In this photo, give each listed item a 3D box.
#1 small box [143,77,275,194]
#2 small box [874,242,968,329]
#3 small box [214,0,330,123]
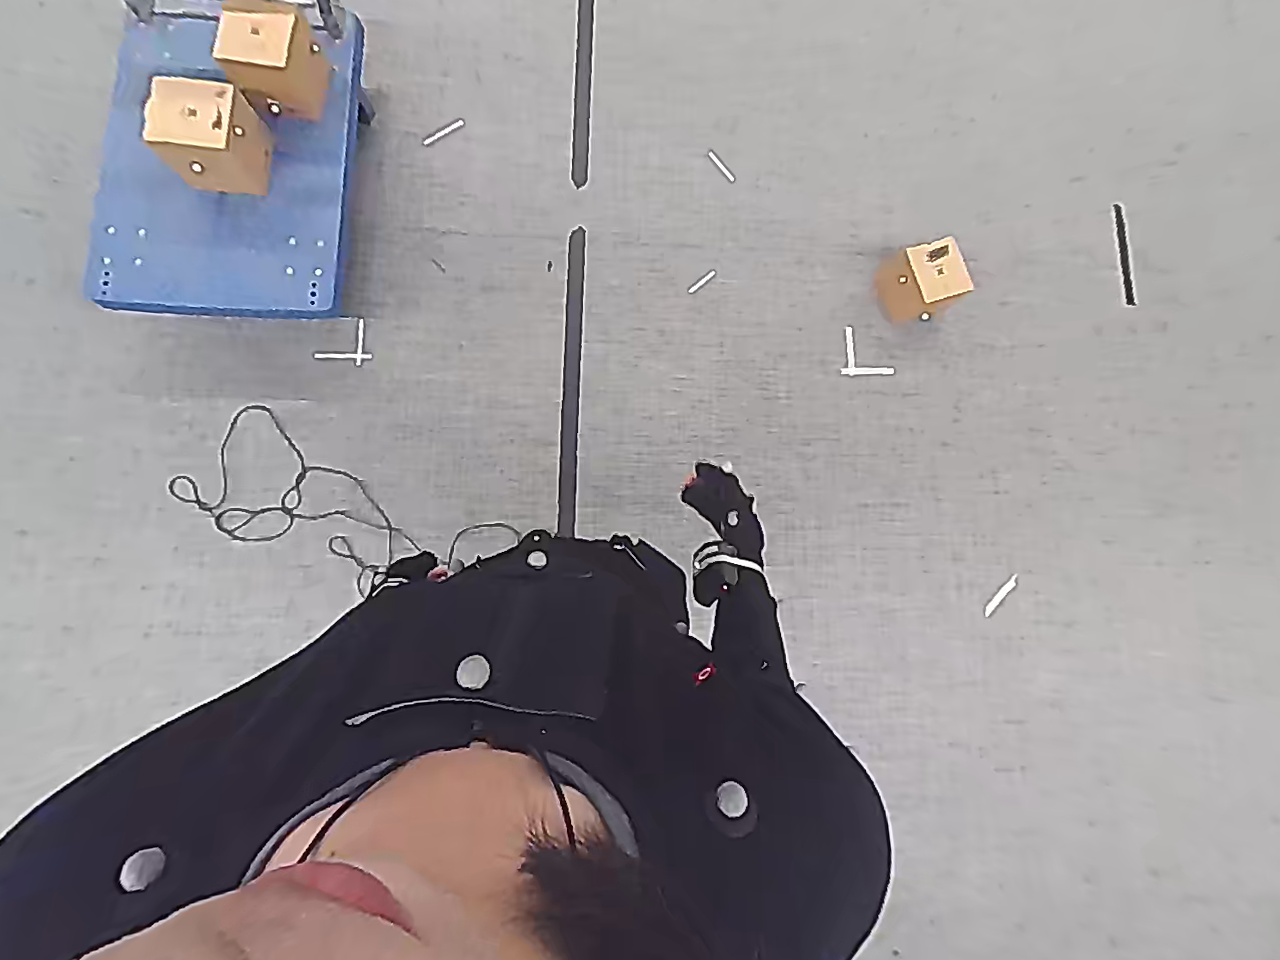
[{"bbox_3d":[-1.027,-0.820,1.302,0.179,0.176,0.168,3,83,-5],"label":"small box"},{"bbox_3d":[0.853,-0.592,1.663,0.168,0.176,0.179,-17,85,-8],"label":"small box"},{"bbox_3d":[-0.902,-1.039,1.345,0.168,0.176,0.179,6,83,-3],"label":"small box"}]
